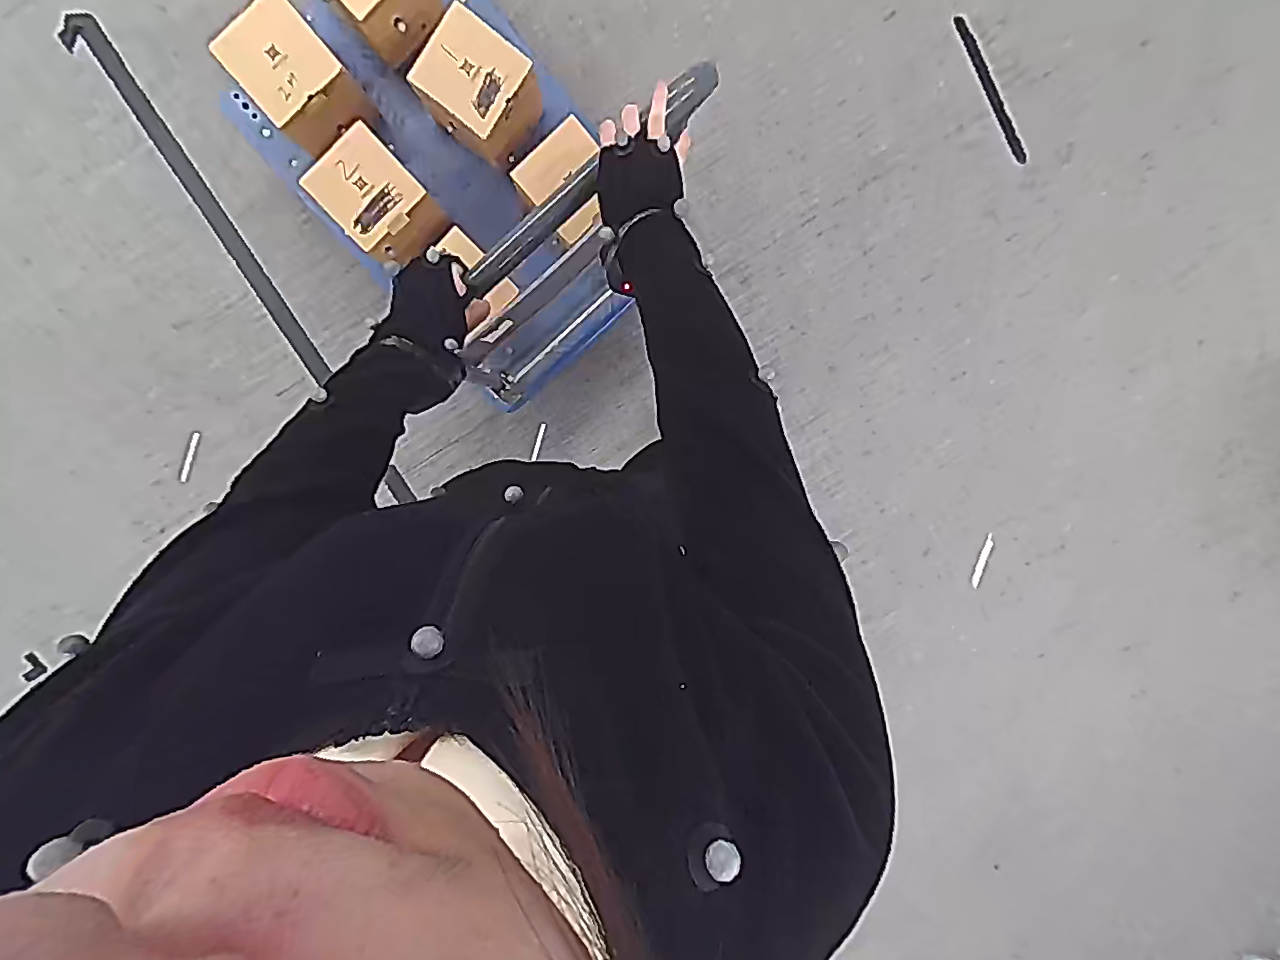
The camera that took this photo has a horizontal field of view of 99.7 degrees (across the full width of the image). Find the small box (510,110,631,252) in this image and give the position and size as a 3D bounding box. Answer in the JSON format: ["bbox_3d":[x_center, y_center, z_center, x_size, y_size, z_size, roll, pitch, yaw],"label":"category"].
[{"bbox_3d":[-0.136,-0.597,1.114,0.168,0.176,0.179,-42,99,3],"label":"small box"}]

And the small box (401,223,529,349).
[{"bbox_3d":[-0.353,-0.393,1.133,0.179,0.176,0.168,44,94,-10],"label":"small box"}]

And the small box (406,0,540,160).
[{"bbox_3d":[-0.318,-0.774,1.071,0.179,0.176,0.168,35,96,-8],"label":"small box"}]

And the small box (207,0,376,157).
[{"bbox_3d":[-0.660,-0.778,1.047,0.168,0.176,0.179,-40,101,4],"label":"small box"}]

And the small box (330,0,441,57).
[{"bbox_3d":[-0.512,-0.960,1.027,0.168,0.176,0.179,-45,99,4],"label":"small box"}]
